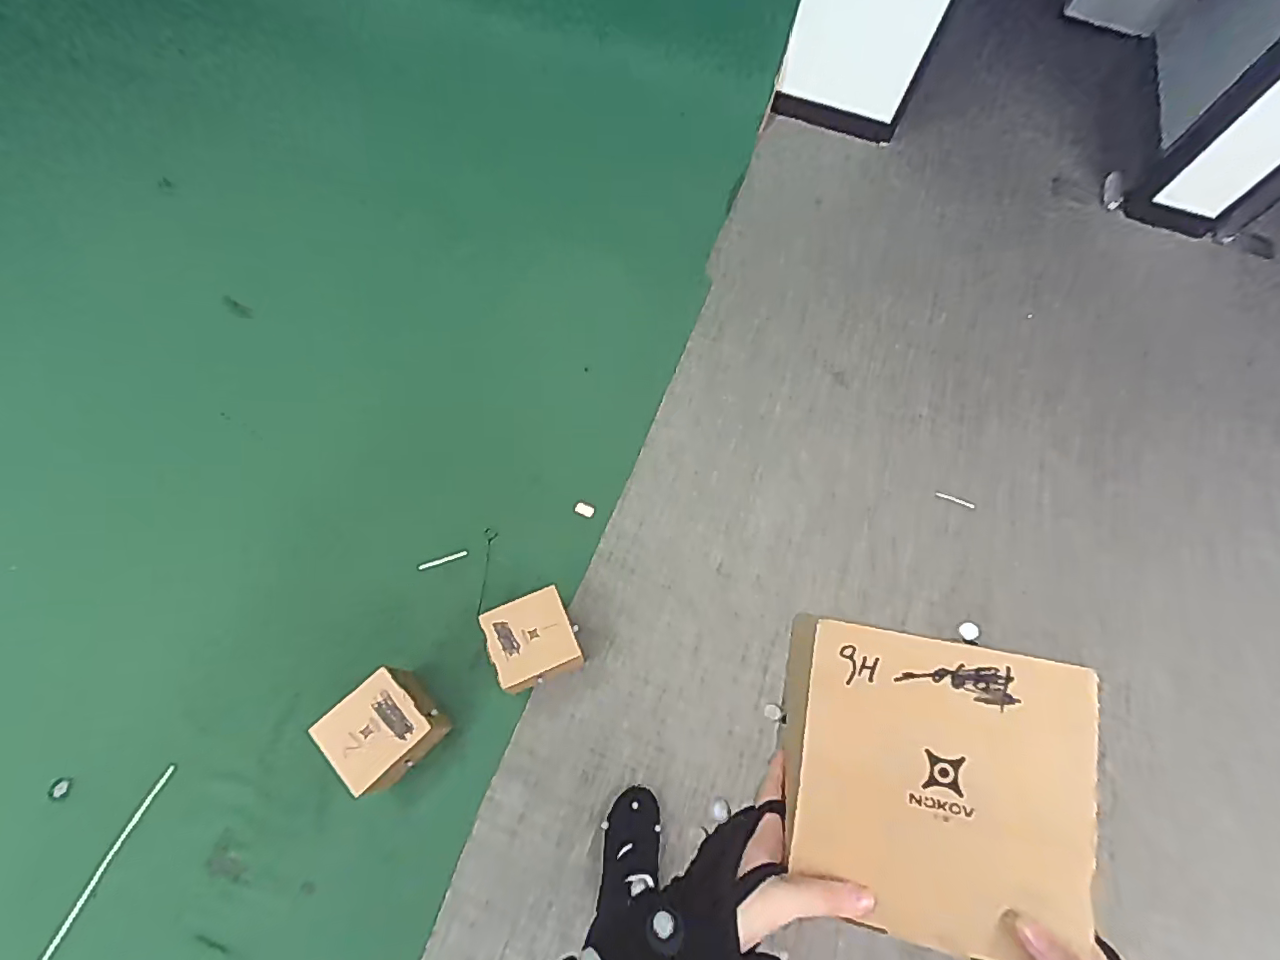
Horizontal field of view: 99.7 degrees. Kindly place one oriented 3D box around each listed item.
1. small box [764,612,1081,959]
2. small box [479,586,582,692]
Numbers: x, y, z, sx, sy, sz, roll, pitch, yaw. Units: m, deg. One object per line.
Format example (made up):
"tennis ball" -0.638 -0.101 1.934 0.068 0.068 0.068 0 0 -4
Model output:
"small box" 0.189 0.204 0.409 0.168 0.176 0.179 8 79 12
"small box" -0.240 0.365 1.221 0.179 0.176 0.168 -21 69 -13
